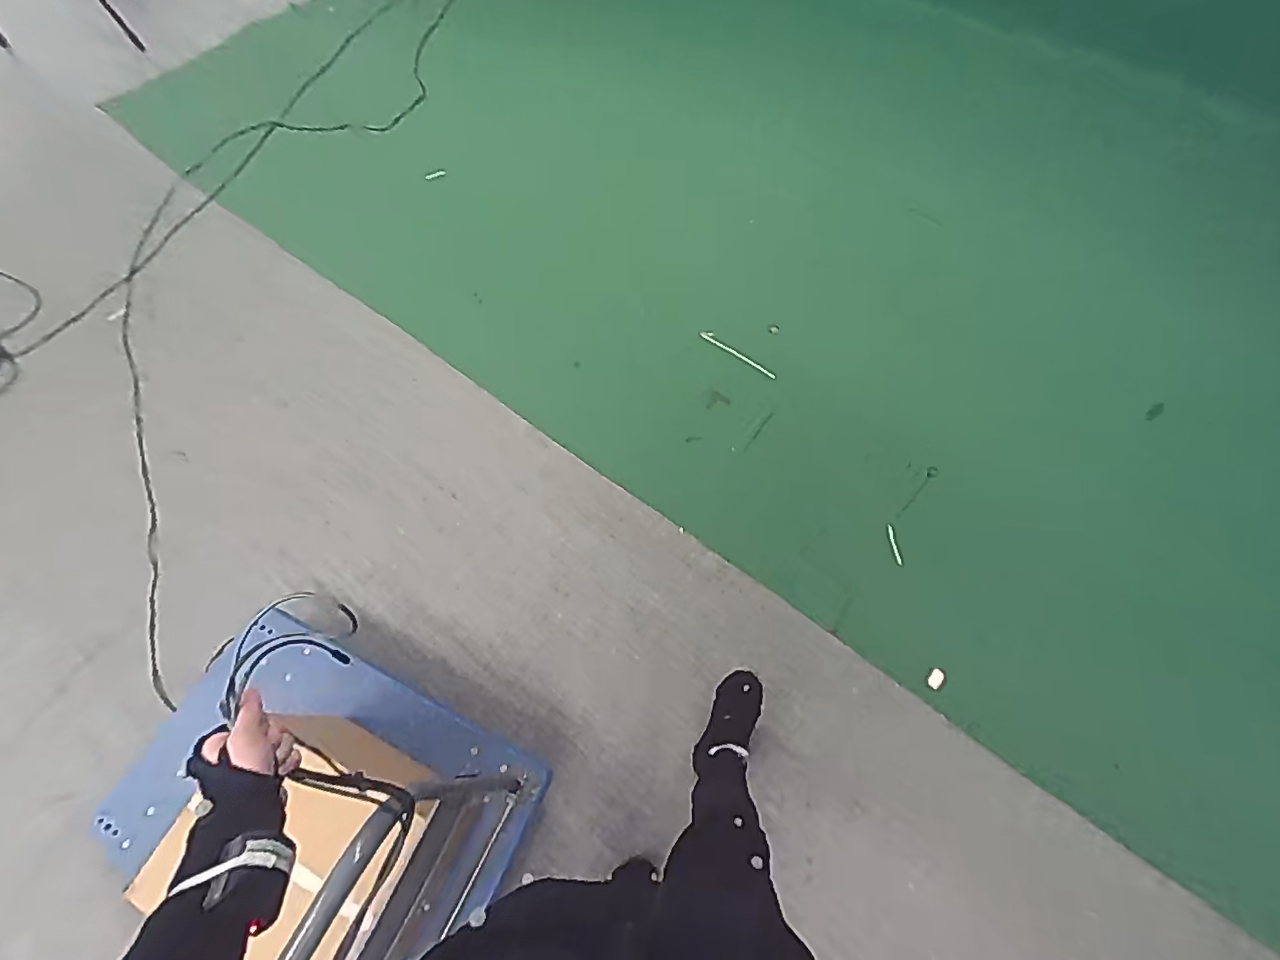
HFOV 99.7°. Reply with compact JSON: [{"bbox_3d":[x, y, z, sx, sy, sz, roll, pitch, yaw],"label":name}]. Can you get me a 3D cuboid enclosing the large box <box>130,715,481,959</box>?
[{"bbox_3d":[-0.588,0.691,1.031,0.408,0.320,0.320,23,67,13],"label":"large box"}]
